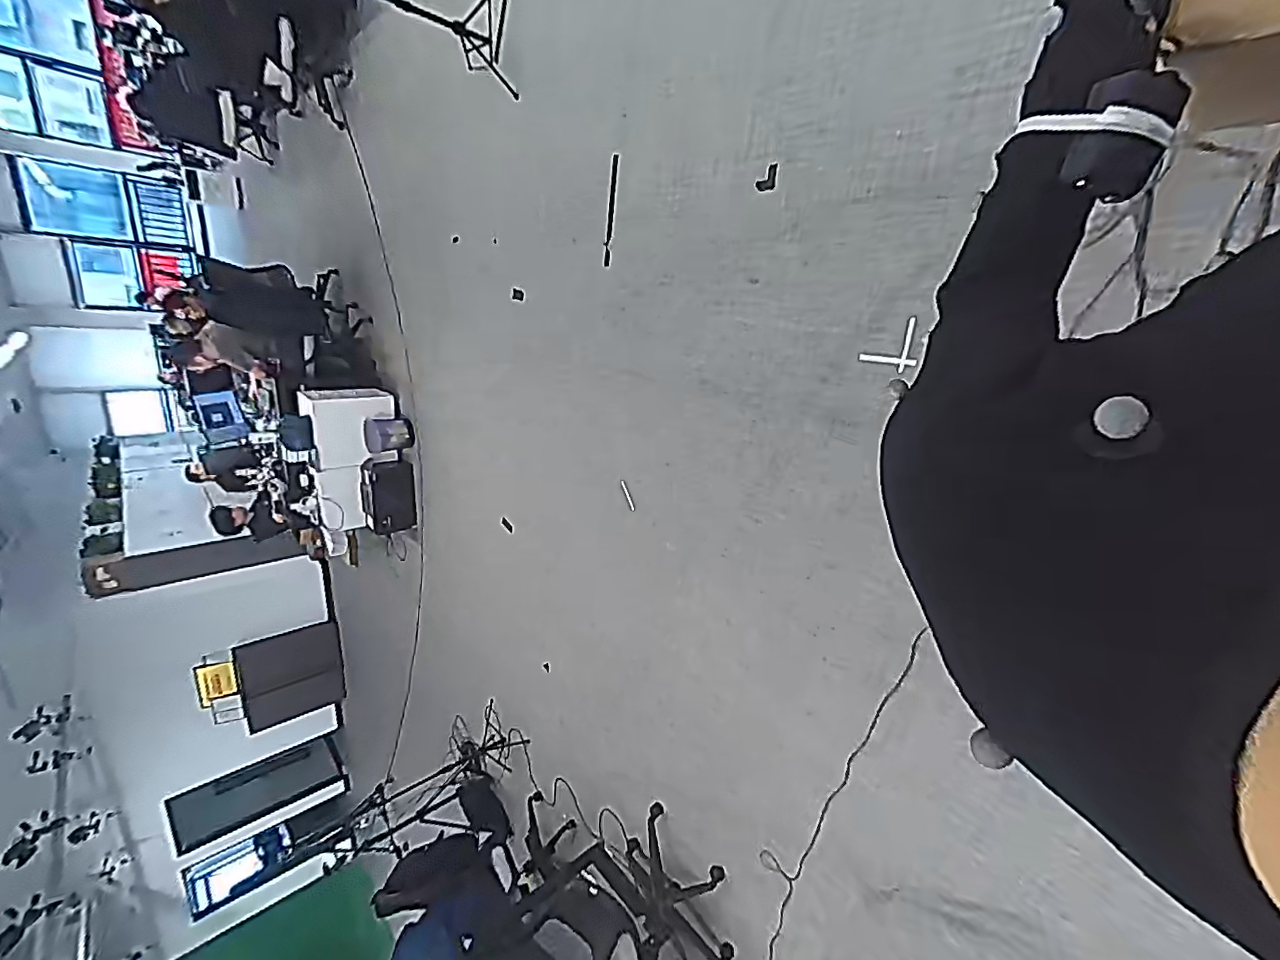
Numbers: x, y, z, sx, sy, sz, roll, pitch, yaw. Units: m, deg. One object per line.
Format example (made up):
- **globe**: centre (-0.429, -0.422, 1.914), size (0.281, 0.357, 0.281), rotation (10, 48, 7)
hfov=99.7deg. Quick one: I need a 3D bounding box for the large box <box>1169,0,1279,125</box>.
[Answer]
- **large box**: centre (0.591, -0.415, 0.269), size (0.408, 0.320, 0.320), rotation (21, 120, 42)
